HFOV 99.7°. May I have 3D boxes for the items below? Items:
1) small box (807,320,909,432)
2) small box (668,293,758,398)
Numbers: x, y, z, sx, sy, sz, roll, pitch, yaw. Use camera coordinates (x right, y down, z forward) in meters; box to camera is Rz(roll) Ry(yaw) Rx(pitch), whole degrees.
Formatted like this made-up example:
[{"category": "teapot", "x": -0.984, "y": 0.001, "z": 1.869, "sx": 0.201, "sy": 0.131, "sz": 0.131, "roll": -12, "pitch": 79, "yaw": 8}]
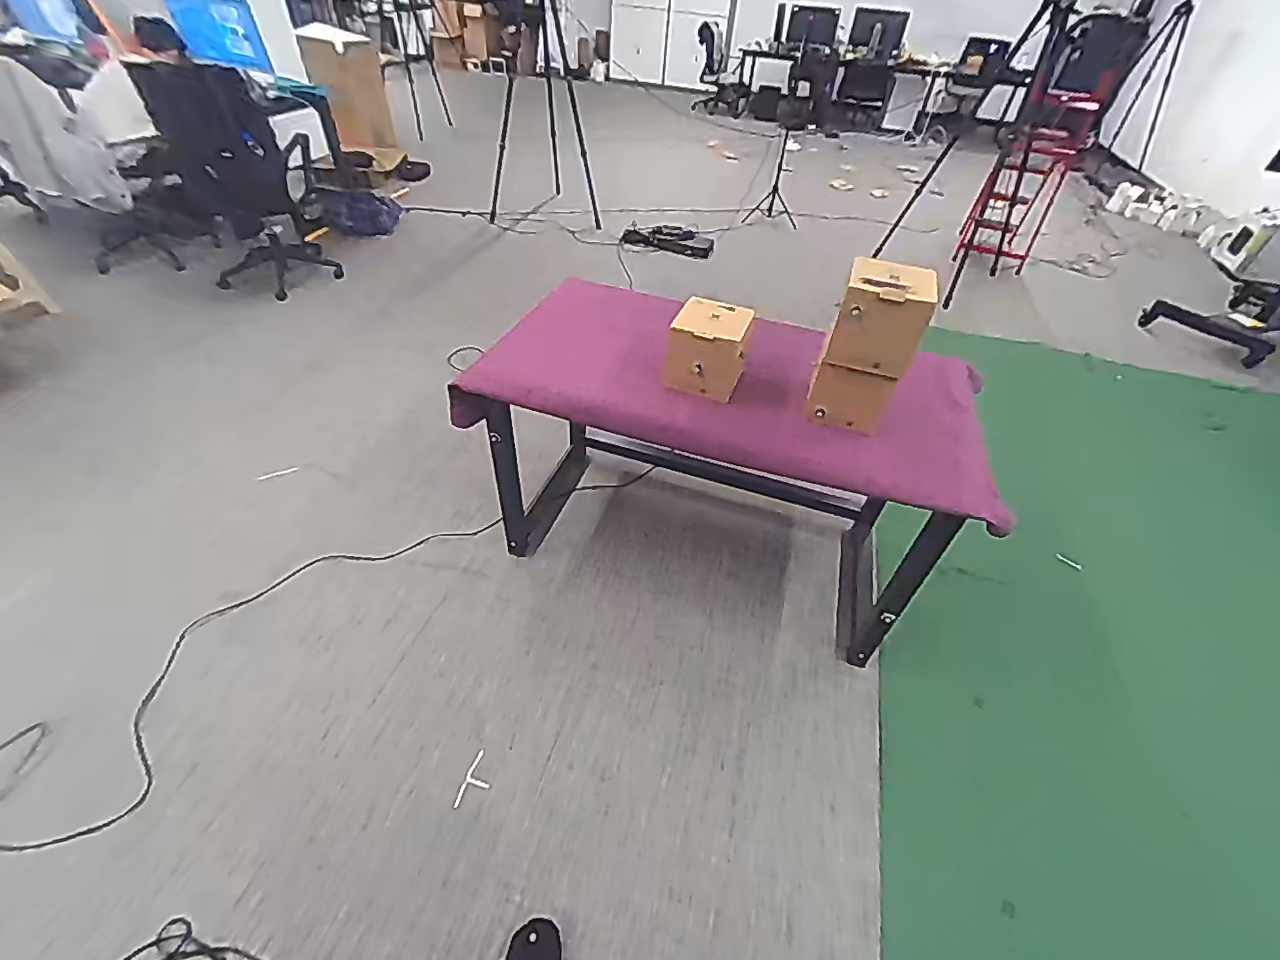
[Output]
[{"category": "small box", "x": 0.498, "y": -0.237, "z": 1.247, "sx": 0.168, "sy": 0.176, "sz": 0.179, "roll": 20, "pitch": 46, "yaw": 12}, {"category": "small box", "x": 0.172, "y": -0.322, "z": 1.306, "sx": 0.168, "sy": 0.176, "sz": 0.179, "roll": 19, "pitch": 46, "yaw": 12}]
